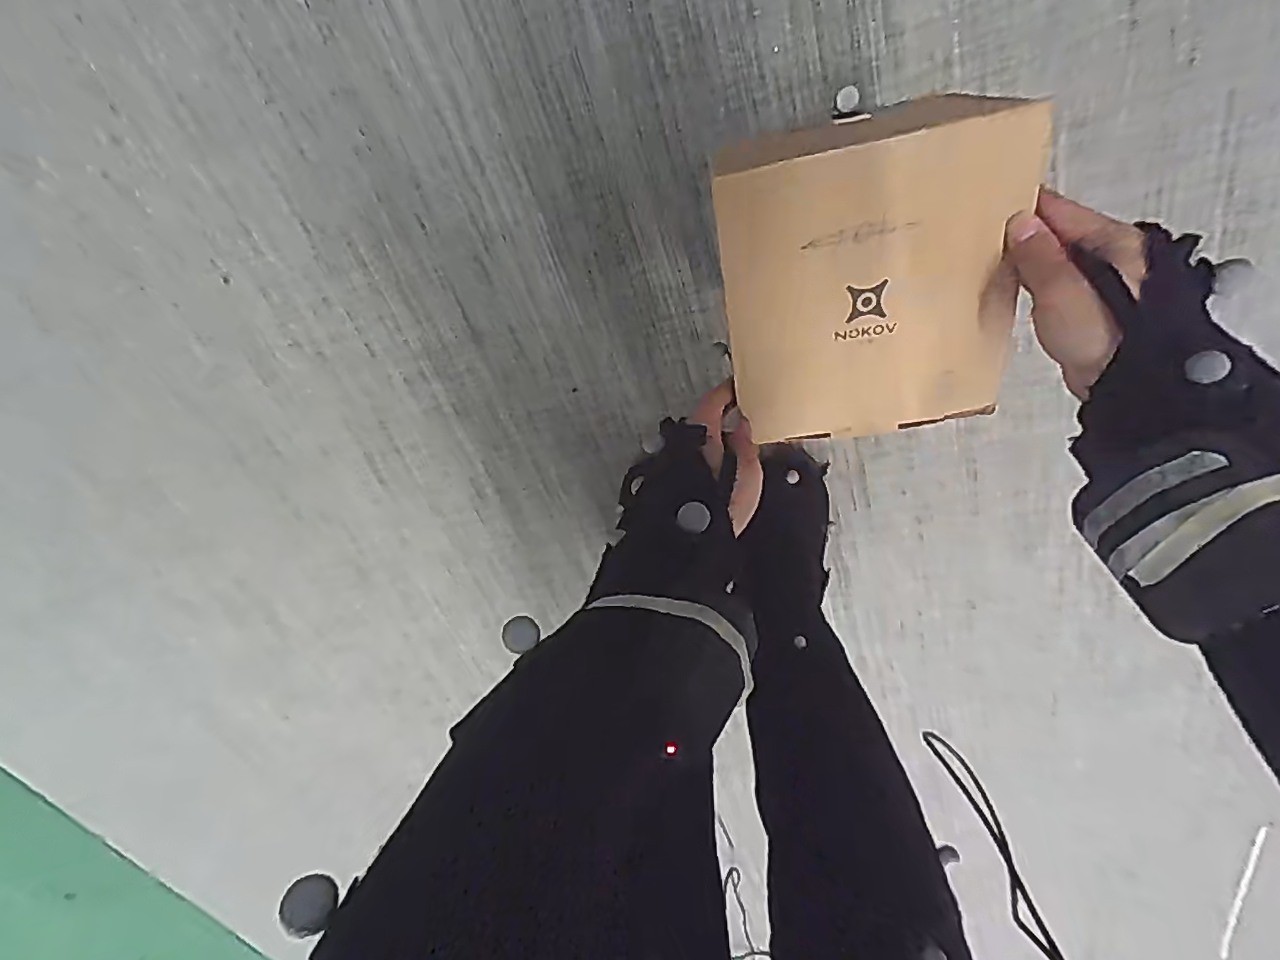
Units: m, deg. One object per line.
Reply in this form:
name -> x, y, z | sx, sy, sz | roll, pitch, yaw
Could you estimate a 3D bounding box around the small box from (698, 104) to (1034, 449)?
small box -> 0.137, -0.147, 0.387 | 0.168, 0.176, 0.179 | -9, 123, 11
